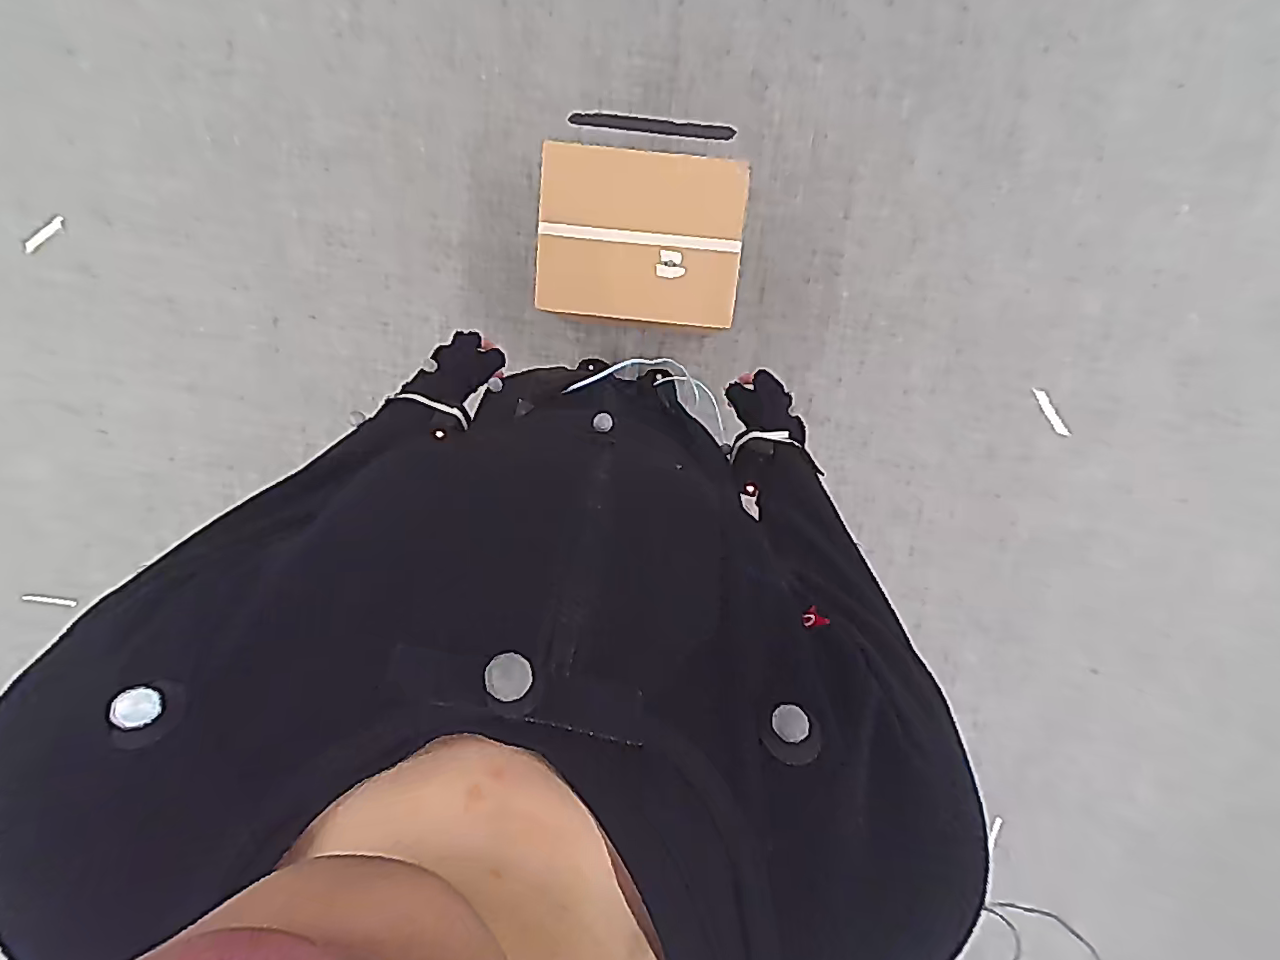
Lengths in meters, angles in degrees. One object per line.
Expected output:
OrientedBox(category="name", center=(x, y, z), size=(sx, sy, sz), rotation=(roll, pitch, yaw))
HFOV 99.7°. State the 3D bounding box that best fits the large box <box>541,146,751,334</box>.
OrientedBox(category="large box", center=(0.006, -0.513, 1.225), size=(0.408, 0.320, 0.320), rotation=(6, 103, -1))
